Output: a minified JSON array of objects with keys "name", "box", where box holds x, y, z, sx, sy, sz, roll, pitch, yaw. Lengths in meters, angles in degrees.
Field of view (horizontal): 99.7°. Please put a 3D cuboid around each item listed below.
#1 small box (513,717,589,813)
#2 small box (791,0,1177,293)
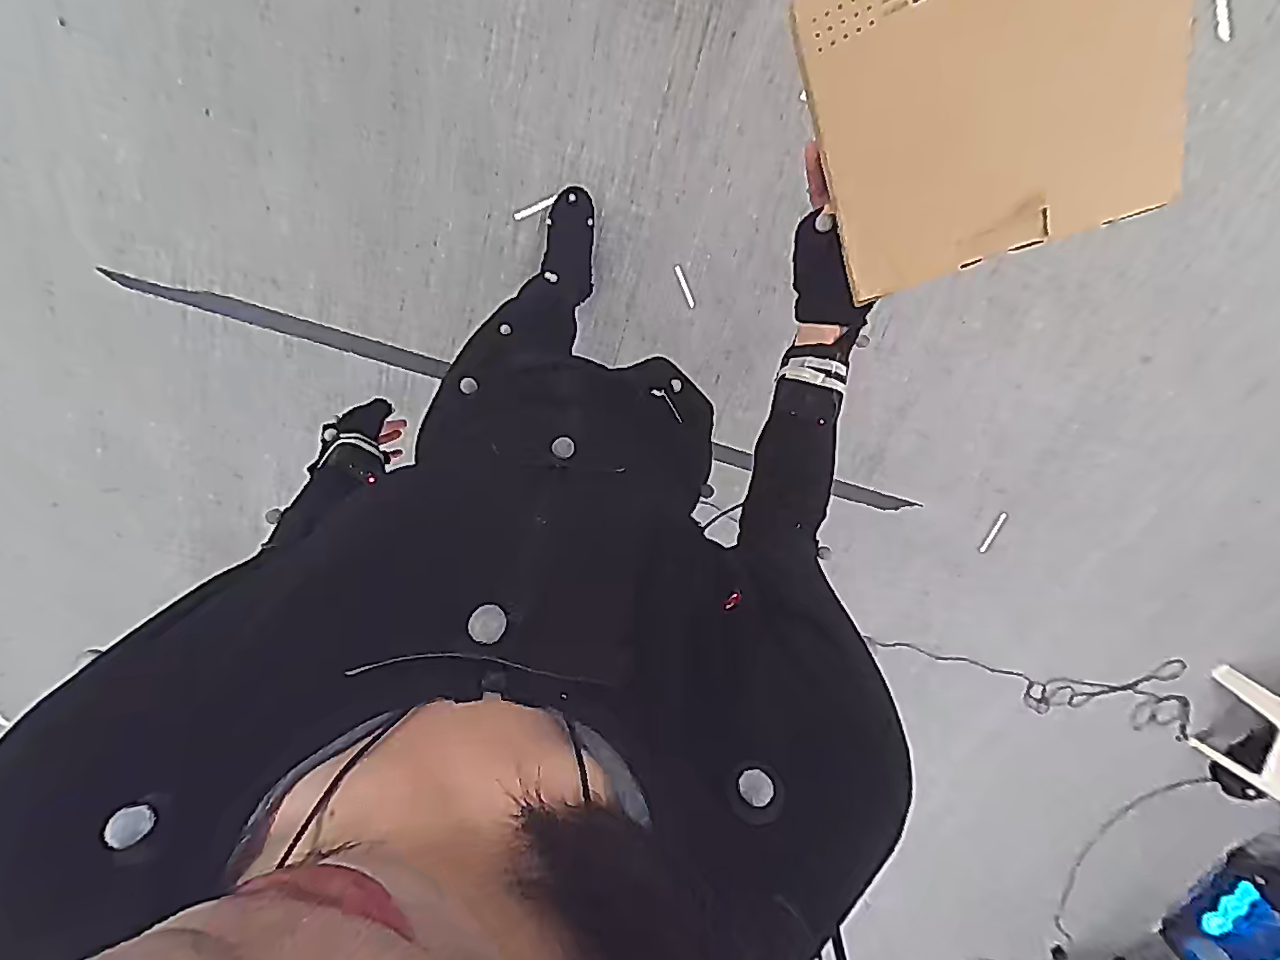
[{"name":"small box","box":[-0.253,0.820,1.568,0.179,0.176,0.168,15,111,-10]},{"name":"small box","box":[0.200,-0.251,0.354,0.168,0.179,0.176,-13,119,22]}]
